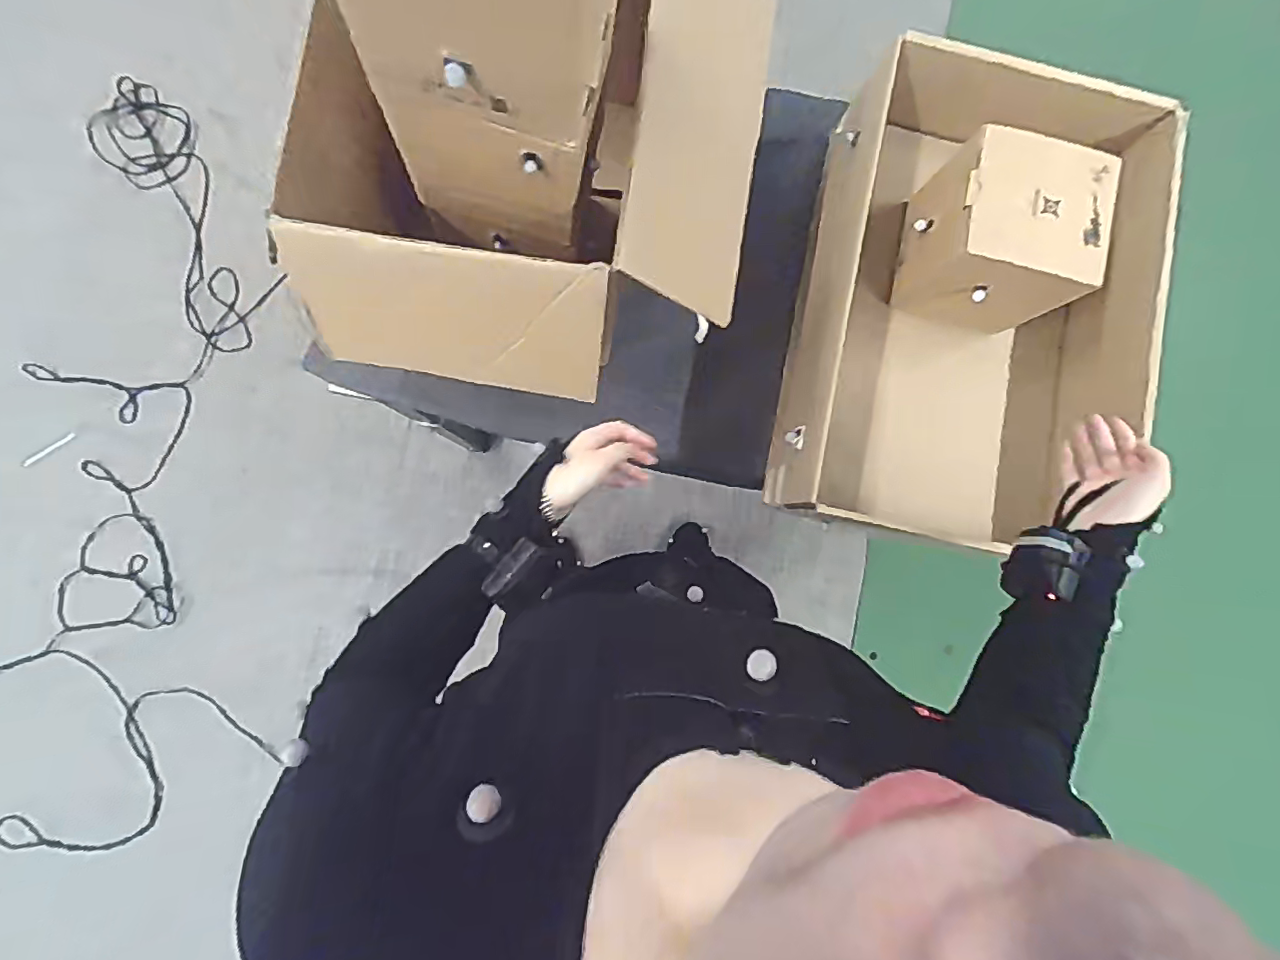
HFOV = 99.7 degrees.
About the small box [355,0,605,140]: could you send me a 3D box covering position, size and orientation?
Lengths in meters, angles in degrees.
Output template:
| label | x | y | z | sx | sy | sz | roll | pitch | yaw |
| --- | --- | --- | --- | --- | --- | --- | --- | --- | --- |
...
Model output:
| label | x | y | z | sx | sy | sz | roll | pitch | yaw |
| --- | --- | --- | --- | --- | --- | --- | --- | --- | --- |
| small box | -0.106 | -0.391 | 0.380 | 0.168 | 0.176 | 0.179 | 10 | 84 | -8 |
